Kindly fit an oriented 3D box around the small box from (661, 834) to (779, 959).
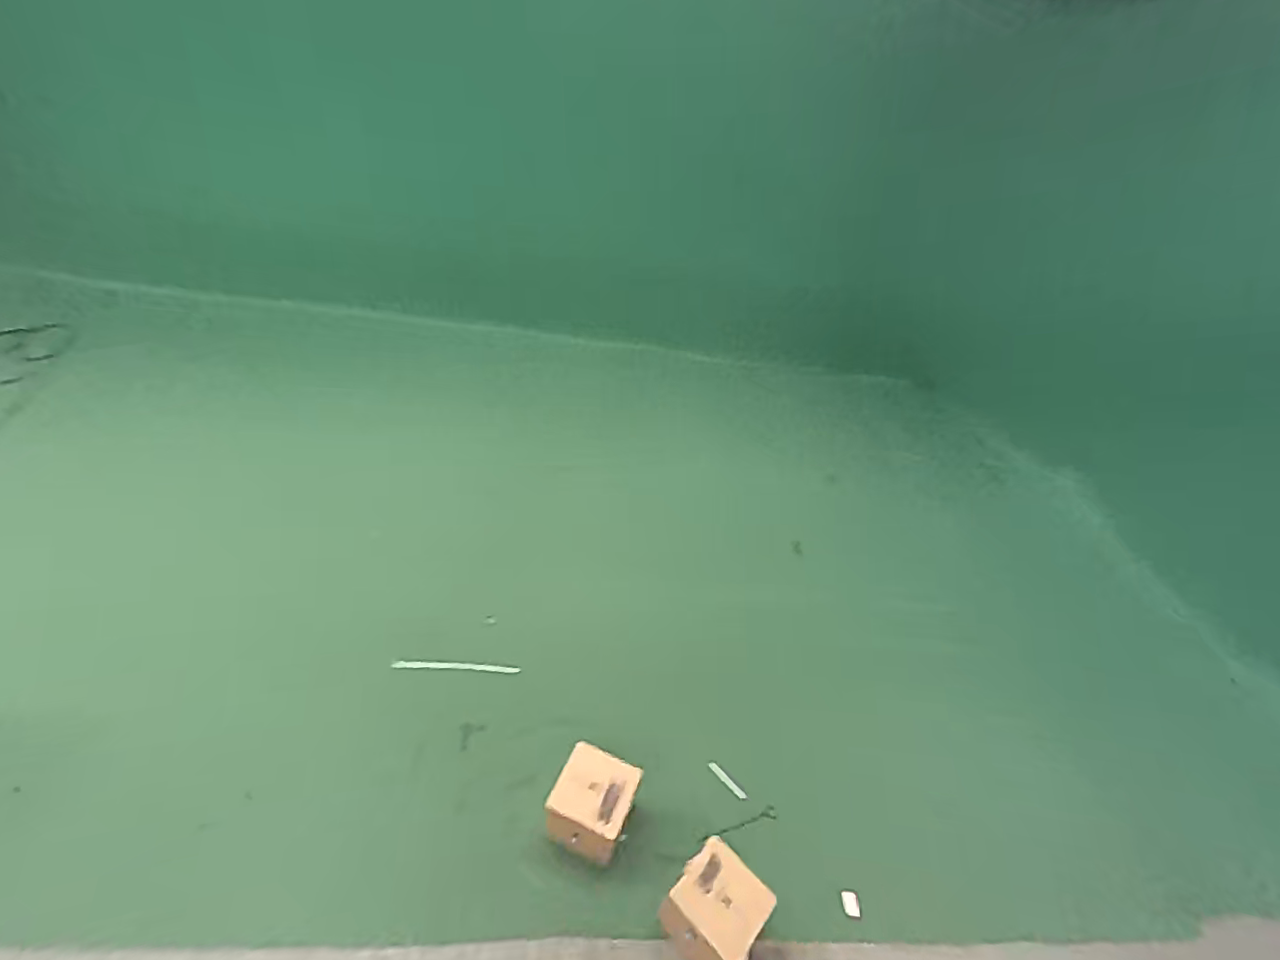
[{"bbox_3d":[0.167,0.935,1.180,0.179,0.176,0.168,35,44,28],"label":"small box"}]
